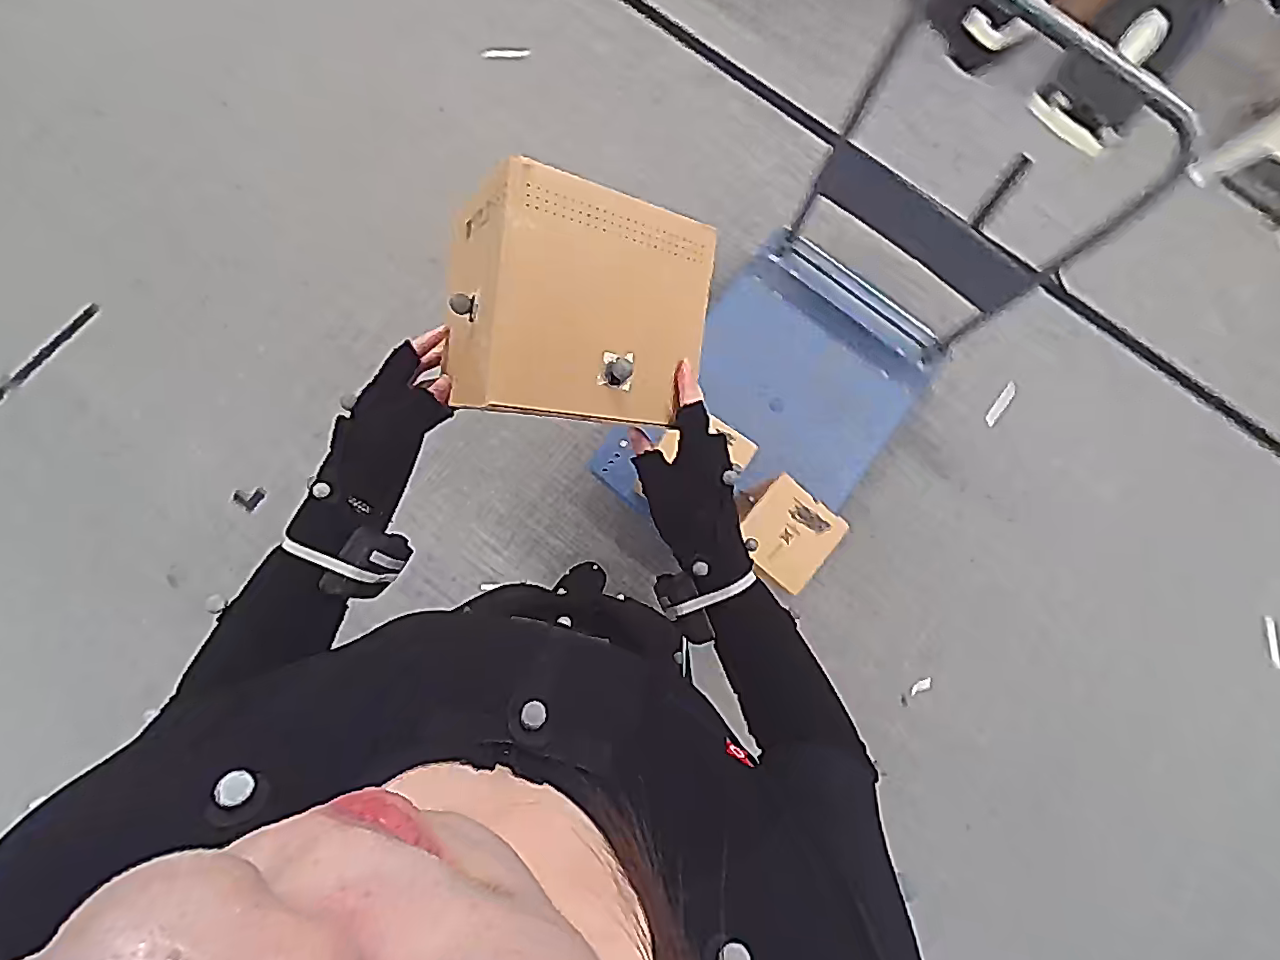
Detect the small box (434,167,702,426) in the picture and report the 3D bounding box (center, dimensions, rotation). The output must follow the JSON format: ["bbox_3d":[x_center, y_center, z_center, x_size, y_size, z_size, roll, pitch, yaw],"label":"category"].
[{"bbox_3d":[-0.066,-0.139,0.464,0.179,0.168,0.176,1,97,-32],"label":"small box"}]

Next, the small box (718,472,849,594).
[{"bbox_3d":[0.281,0.108,1.107,0.168,0.176,0.179,41,83,2],"label":"small box"}]

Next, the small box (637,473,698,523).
[{"bbox_3d":[0.106,-0.011,1.283,0.168,0.176,0.179,37,81,2],"label":"small box"}]

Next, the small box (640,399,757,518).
[{"bbox_3d":[0.113,-0.034,1.119,0.168,0.176,0.179,35,83,2],"label":"small box"}]
